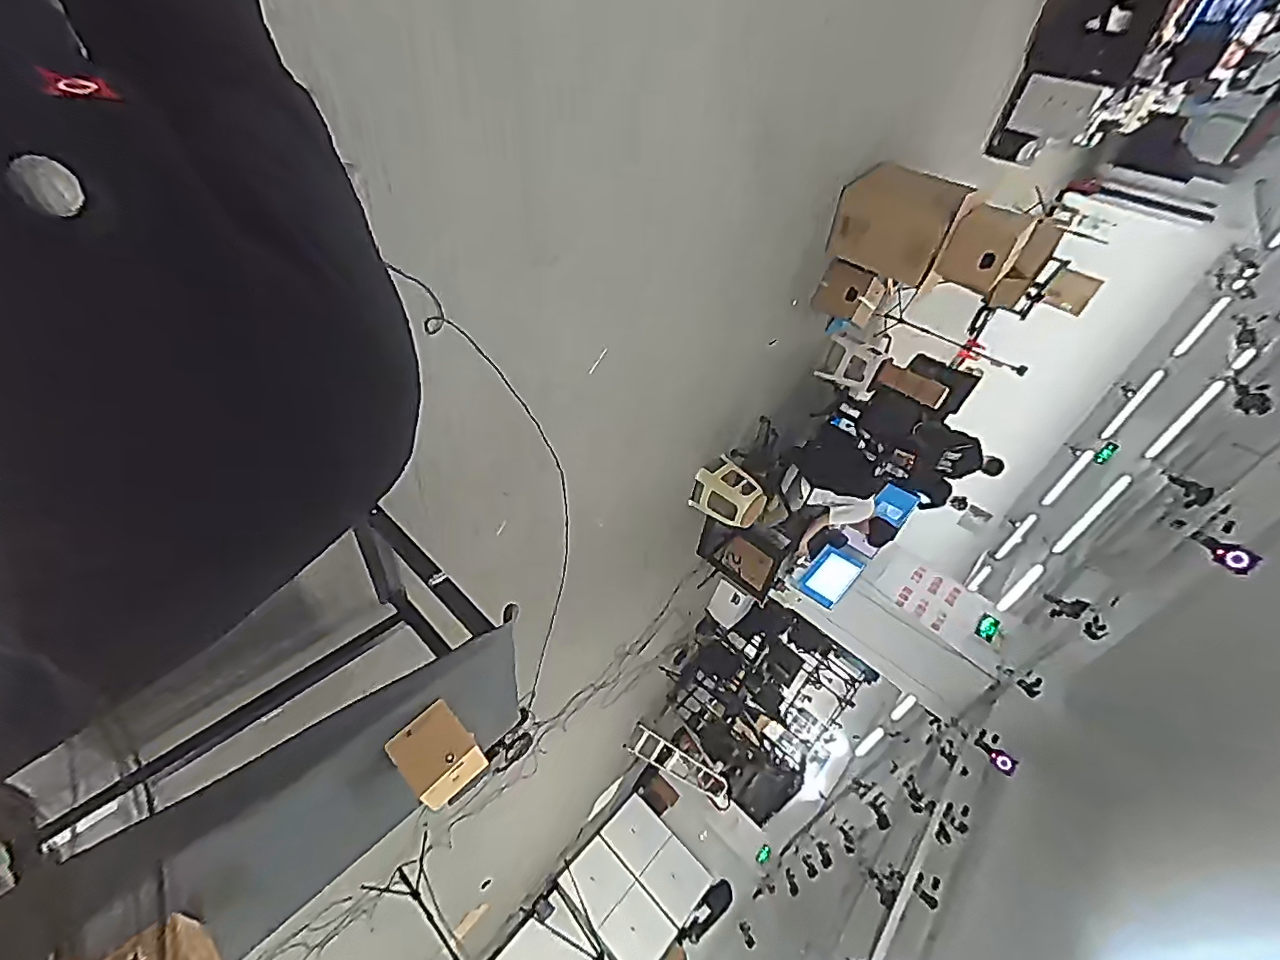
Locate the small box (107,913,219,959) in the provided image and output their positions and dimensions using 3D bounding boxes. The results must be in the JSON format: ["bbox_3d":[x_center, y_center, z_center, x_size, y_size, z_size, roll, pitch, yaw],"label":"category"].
[{"bbox_3d":[-0.947,1.001,1.057,0.168,0.176,0.179,-35,147,-38],"label":"small box"}]

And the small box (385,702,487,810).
[{"bbox_3d":[-0.527,0.714,1.408,0.168,0.176,0.179,-39,152,-31],"label":"small box"}]
